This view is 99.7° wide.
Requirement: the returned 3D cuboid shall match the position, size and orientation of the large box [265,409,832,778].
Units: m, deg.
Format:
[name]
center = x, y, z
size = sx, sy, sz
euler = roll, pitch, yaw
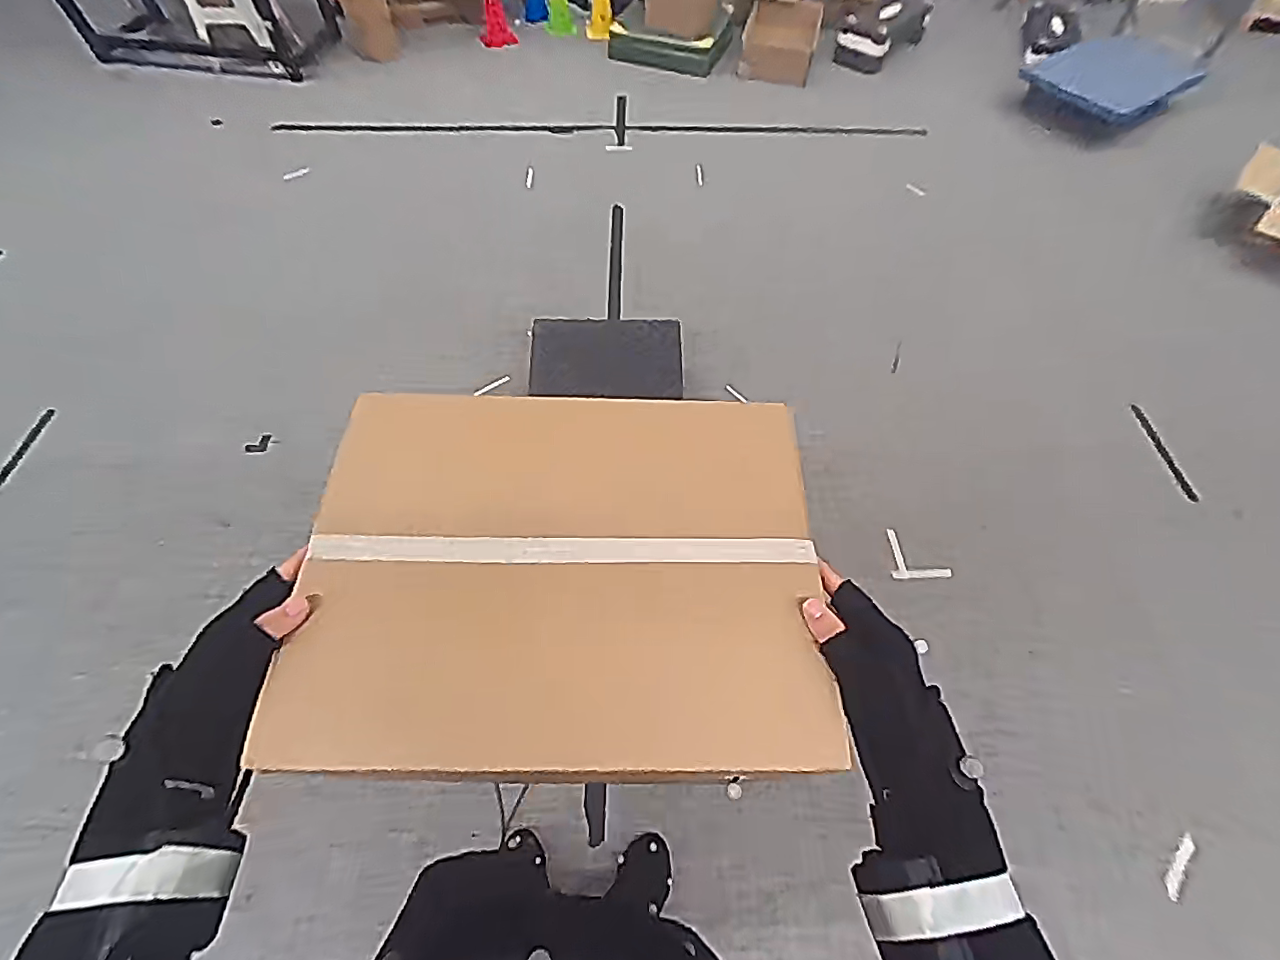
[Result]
[large box]
center = -0.066, 0.138, 0.578
size = 0.408, 0.320, 0.320
euler = 0, 59, -2
